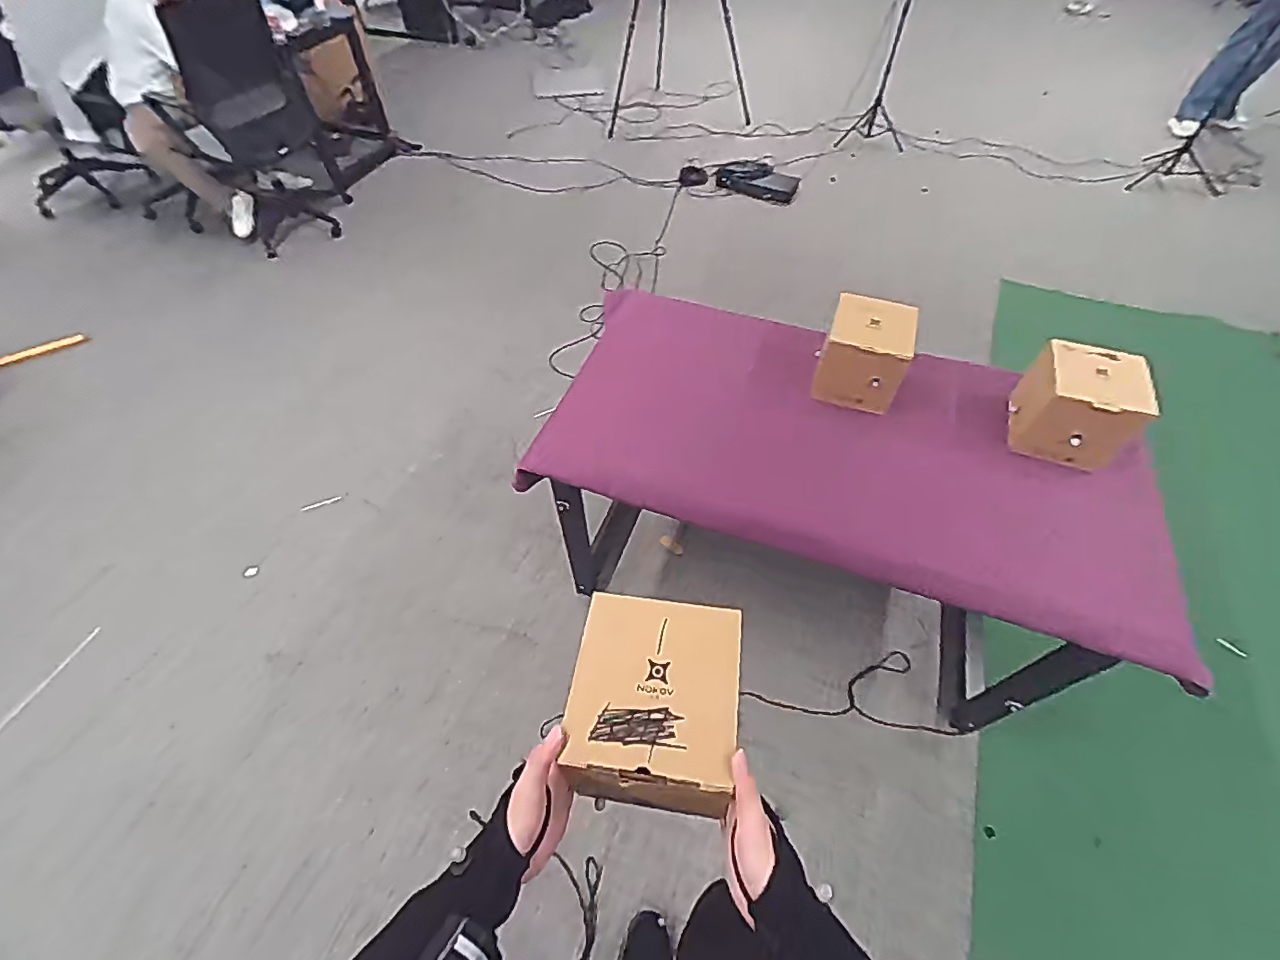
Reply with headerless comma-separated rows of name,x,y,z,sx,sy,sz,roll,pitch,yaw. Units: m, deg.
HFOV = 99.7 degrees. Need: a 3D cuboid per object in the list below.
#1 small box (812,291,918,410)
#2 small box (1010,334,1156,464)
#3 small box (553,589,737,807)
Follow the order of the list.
small box,0.488,-0.281,1.187,0.168,0.176,0.179,16,56,13
small box,0.871,-0.158,1.082,0.168,0.176,0.179,17,57,14
small box,0.016,0.244,0.599,0.168,0.176,0.179,5,51,7
